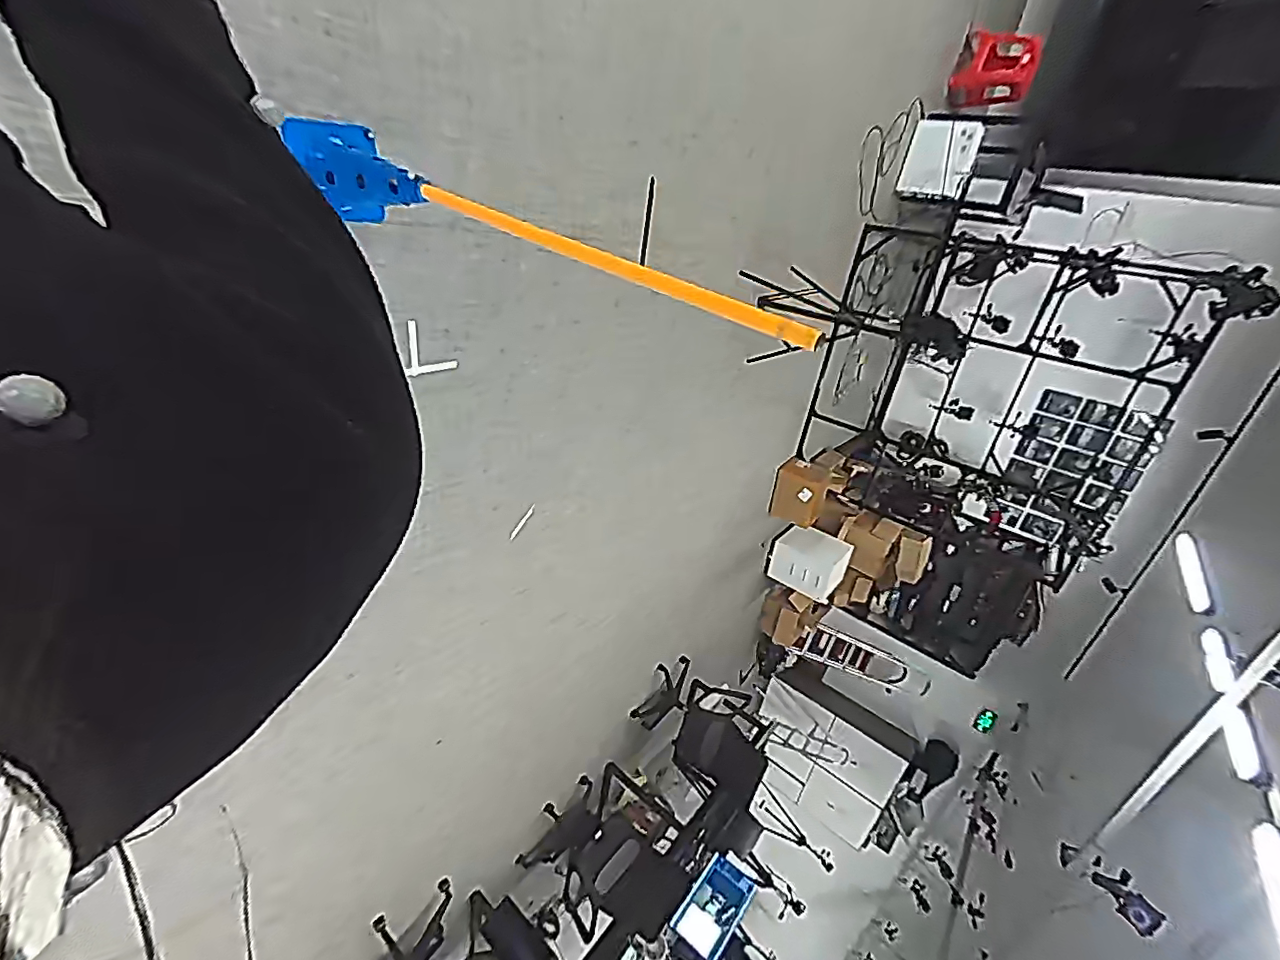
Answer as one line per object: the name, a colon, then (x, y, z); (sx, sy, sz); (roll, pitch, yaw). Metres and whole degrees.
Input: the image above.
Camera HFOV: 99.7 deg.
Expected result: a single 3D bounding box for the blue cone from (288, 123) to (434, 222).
blue cone: (-0.554, -0.632, 1.141); (0.193, 0.380, 0.192); (-28, 133, -45)
